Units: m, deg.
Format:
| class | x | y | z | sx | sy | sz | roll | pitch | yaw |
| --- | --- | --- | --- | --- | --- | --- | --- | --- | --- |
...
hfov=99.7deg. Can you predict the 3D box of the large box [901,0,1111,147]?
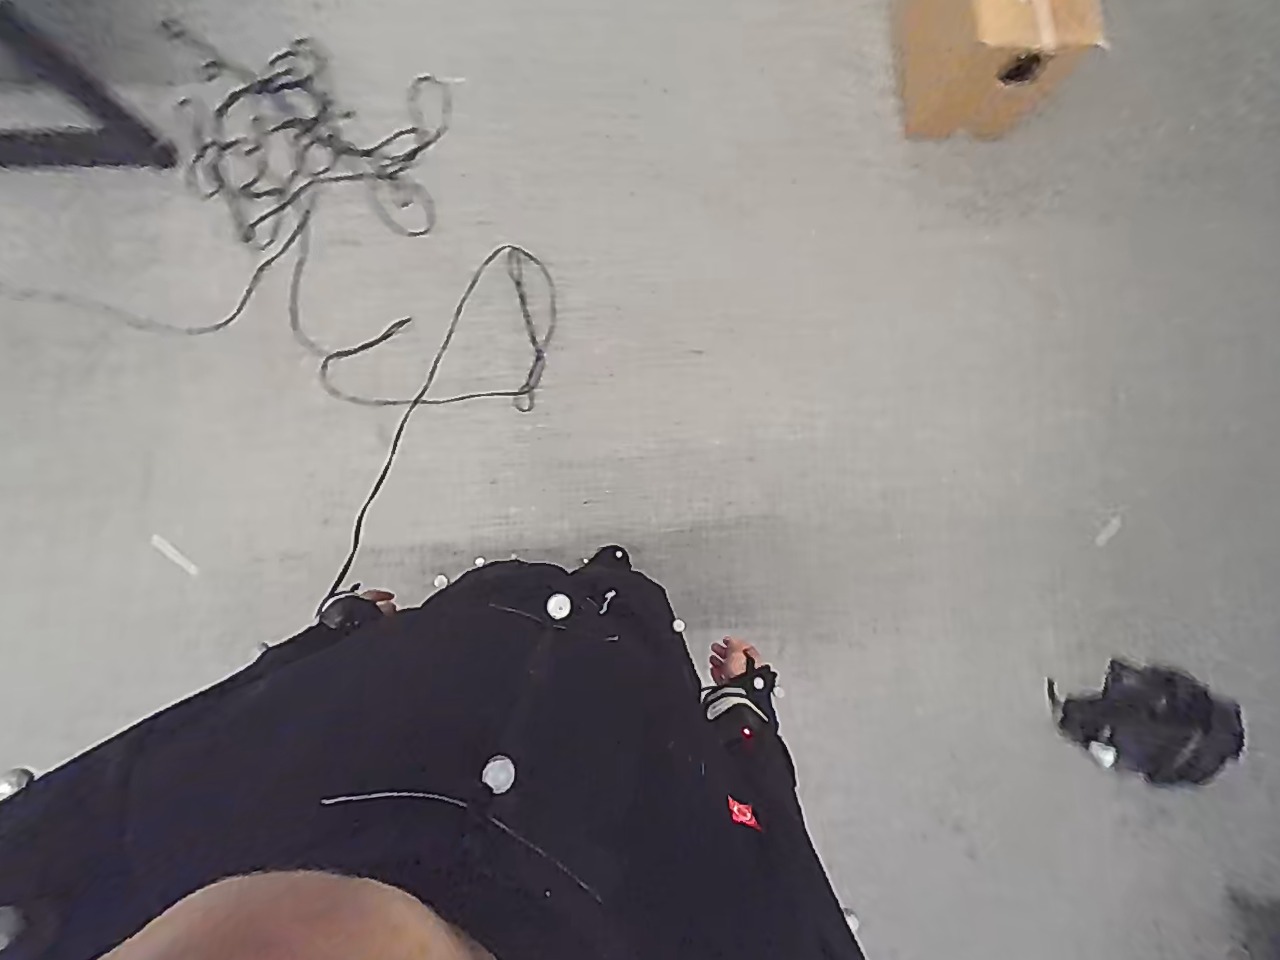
| class | x | y | z | sx | sy | sz | roll | pitch | yaw |
| --- | --- | --- | --- | --- | --- | --- | --- | --- | --- |
| large box | 0.921 | -1.157 | 1.403 | 0.320 | 0.320 | 0.408 | -3 | 87 | -4 |
